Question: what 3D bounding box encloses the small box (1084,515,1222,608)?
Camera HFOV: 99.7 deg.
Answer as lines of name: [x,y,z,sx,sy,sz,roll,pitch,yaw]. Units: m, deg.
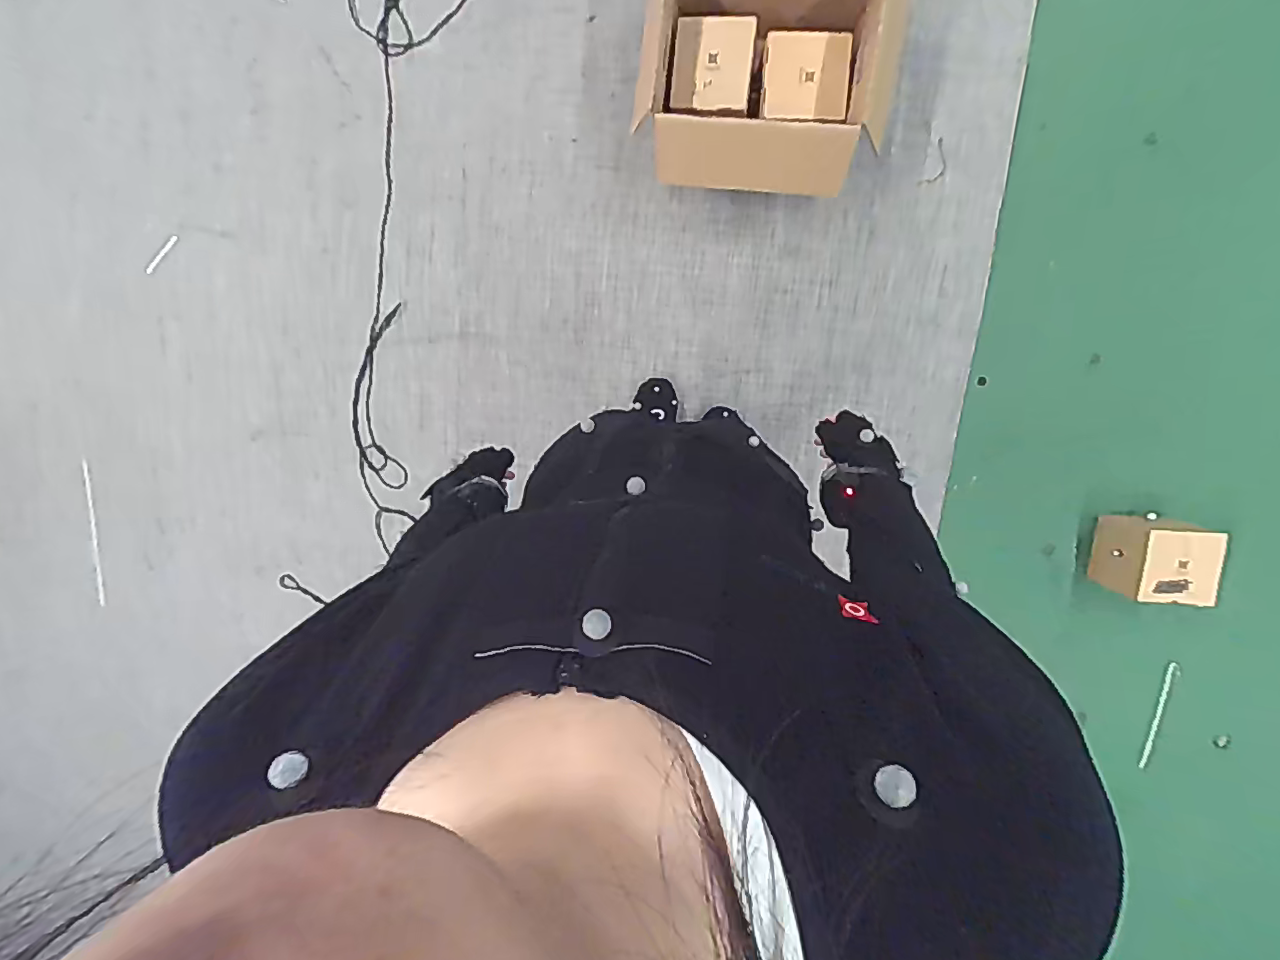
small box: [1.238,0.194,1.321,0.168,0.176,0.179,3,99,5]
